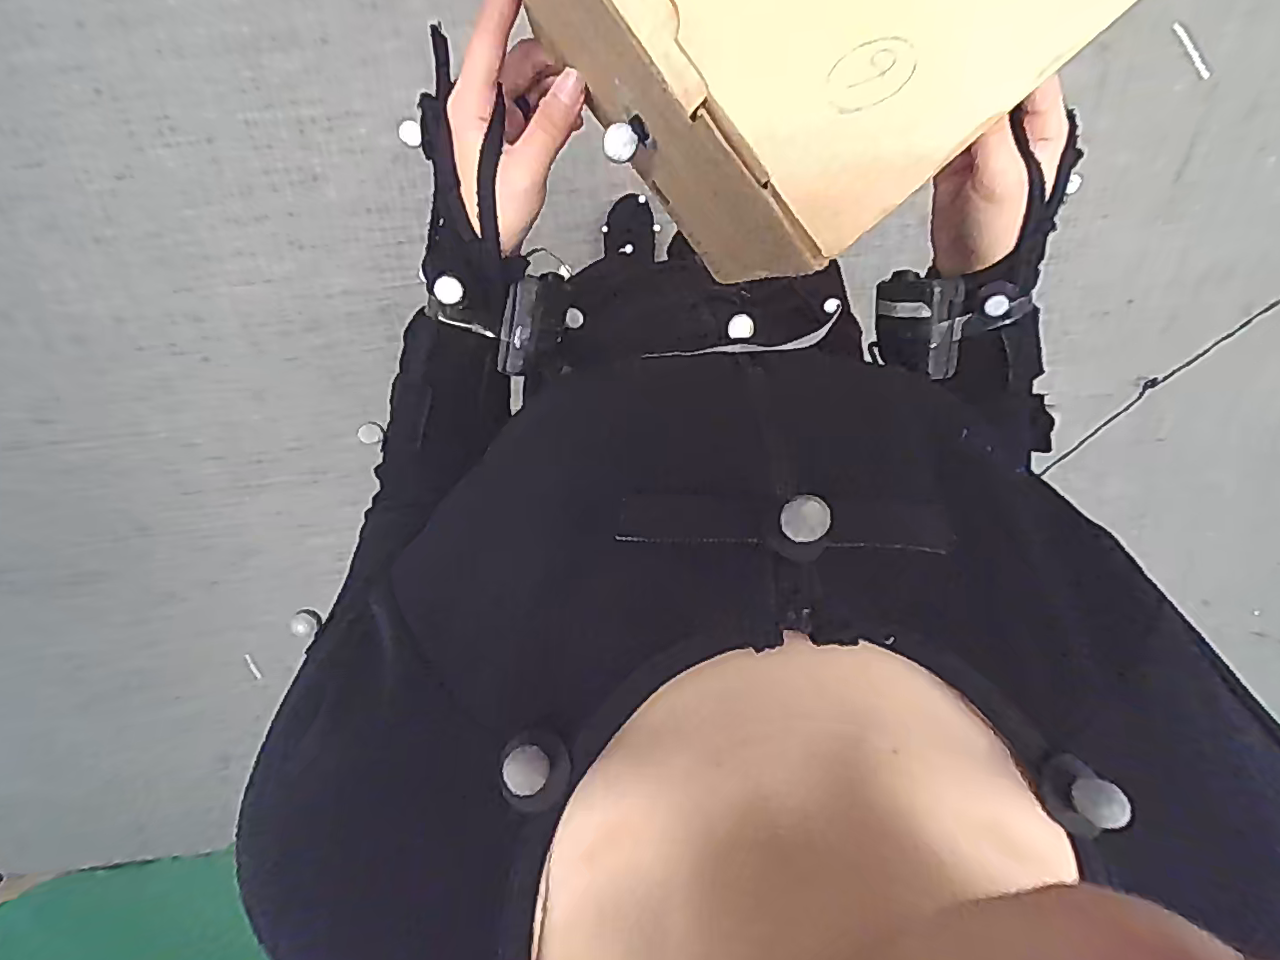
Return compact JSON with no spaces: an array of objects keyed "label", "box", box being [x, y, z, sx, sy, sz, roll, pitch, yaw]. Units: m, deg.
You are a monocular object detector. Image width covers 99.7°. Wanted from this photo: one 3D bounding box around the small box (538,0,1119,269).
[{"label":"small box","box":[0.064,-0.203,0.209,0.179,0.176,0.168,-39,105,11]}]
